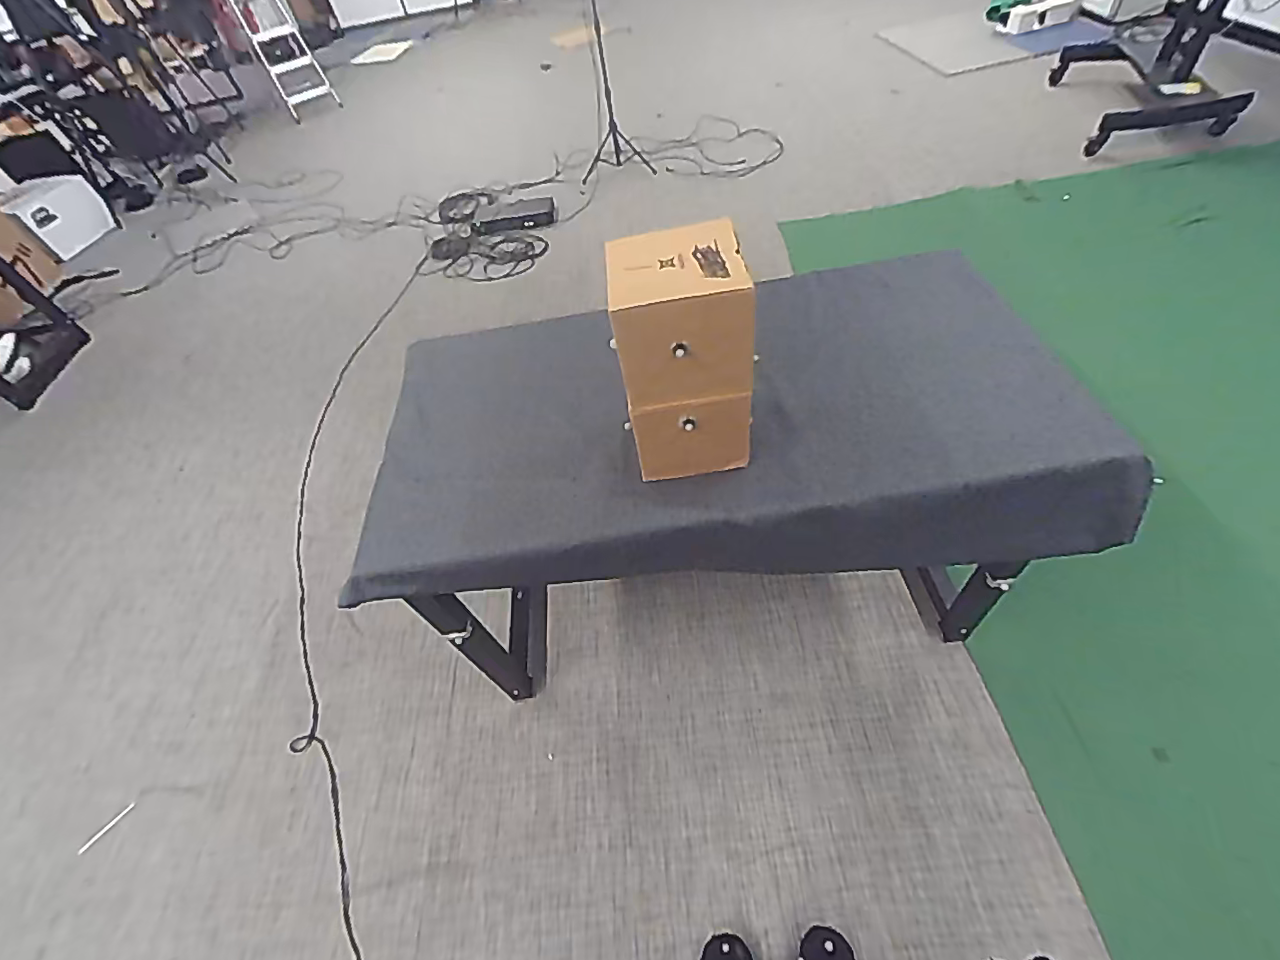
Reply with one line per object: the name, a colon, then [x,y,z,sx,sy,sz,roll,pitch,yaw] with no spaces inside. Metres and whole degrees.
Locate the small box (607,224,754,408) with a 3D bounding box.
small box: [0.055,-0.221,0.749,0.179,0.176,0.168,-8,52,5]

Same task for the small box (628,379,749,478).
small box: [0.075,-0.119,0.876,0.179,0.176,0.168,-8,52,2]
